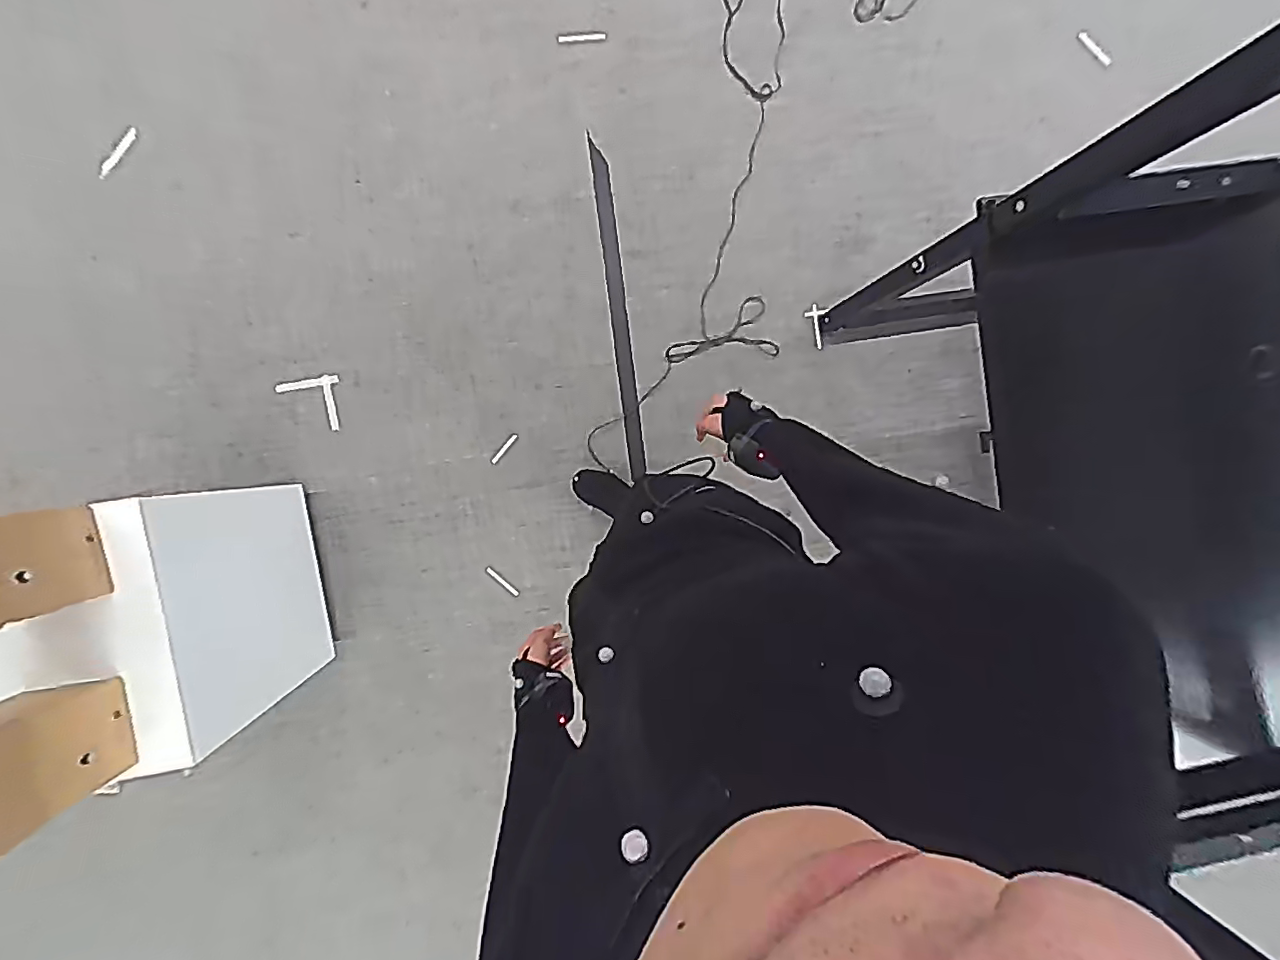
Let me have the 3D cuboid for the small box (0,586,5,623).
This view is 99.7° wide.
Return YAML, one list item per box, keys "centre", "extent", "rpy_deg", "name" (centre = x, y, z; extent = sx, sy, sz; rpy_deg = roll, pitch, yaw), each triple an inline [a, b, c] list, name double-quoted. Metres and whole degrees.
- centre: [-1.018, 0.158, 0.714]
  extent: [0.179, 0.176, 0.168]
  rpy_deg: [-11, 94, -4]
  name: "small box"

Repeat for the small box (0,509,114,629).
- centre: [-1.032, 0.149, 0.879]
  extent: [0.179, 0.176, 0.168]
  rpy_deg: [-11, 95, -4]
  name: "small box"

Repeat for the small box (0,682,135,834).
- centre: [-0.996, 0.455, 0.898]
  extent: [0.179, 0.176, 0.168]
  rpy_deg: [-9, 93, -4]
  name: "small box"
